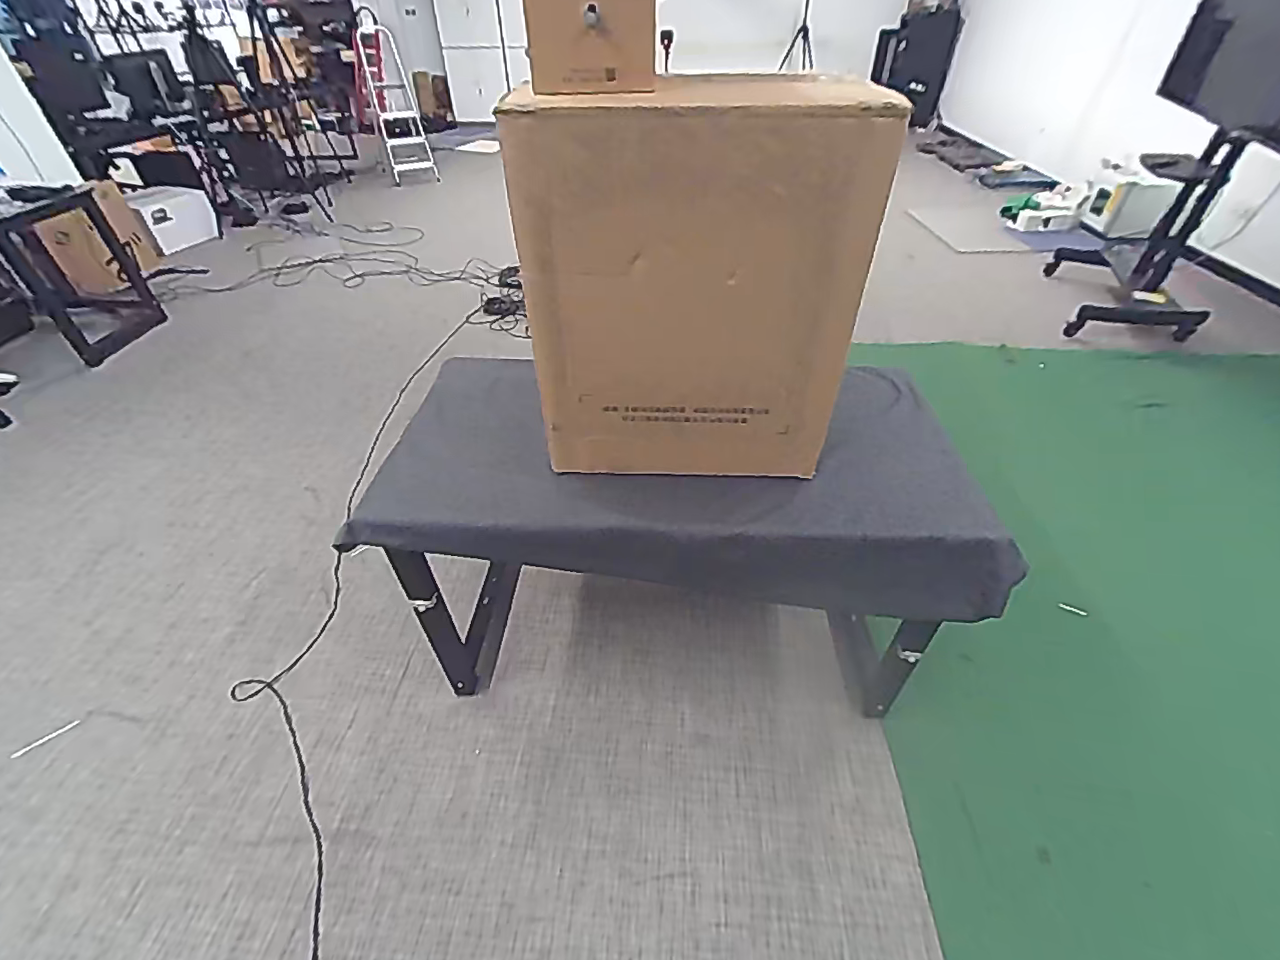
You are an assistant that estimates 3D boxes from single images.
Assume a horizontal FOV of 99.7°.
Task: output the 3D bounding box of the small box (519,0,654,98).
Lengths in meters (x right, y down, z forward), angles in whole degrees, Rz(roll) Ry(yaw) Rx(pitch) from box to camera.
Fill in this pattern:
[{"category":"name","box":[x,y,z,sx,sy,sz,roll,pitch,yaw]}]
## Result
[{"category":"small box","box":[-0.066,-0.630,0.730,0.168,0.176,0.179,-2,45,1]}]
